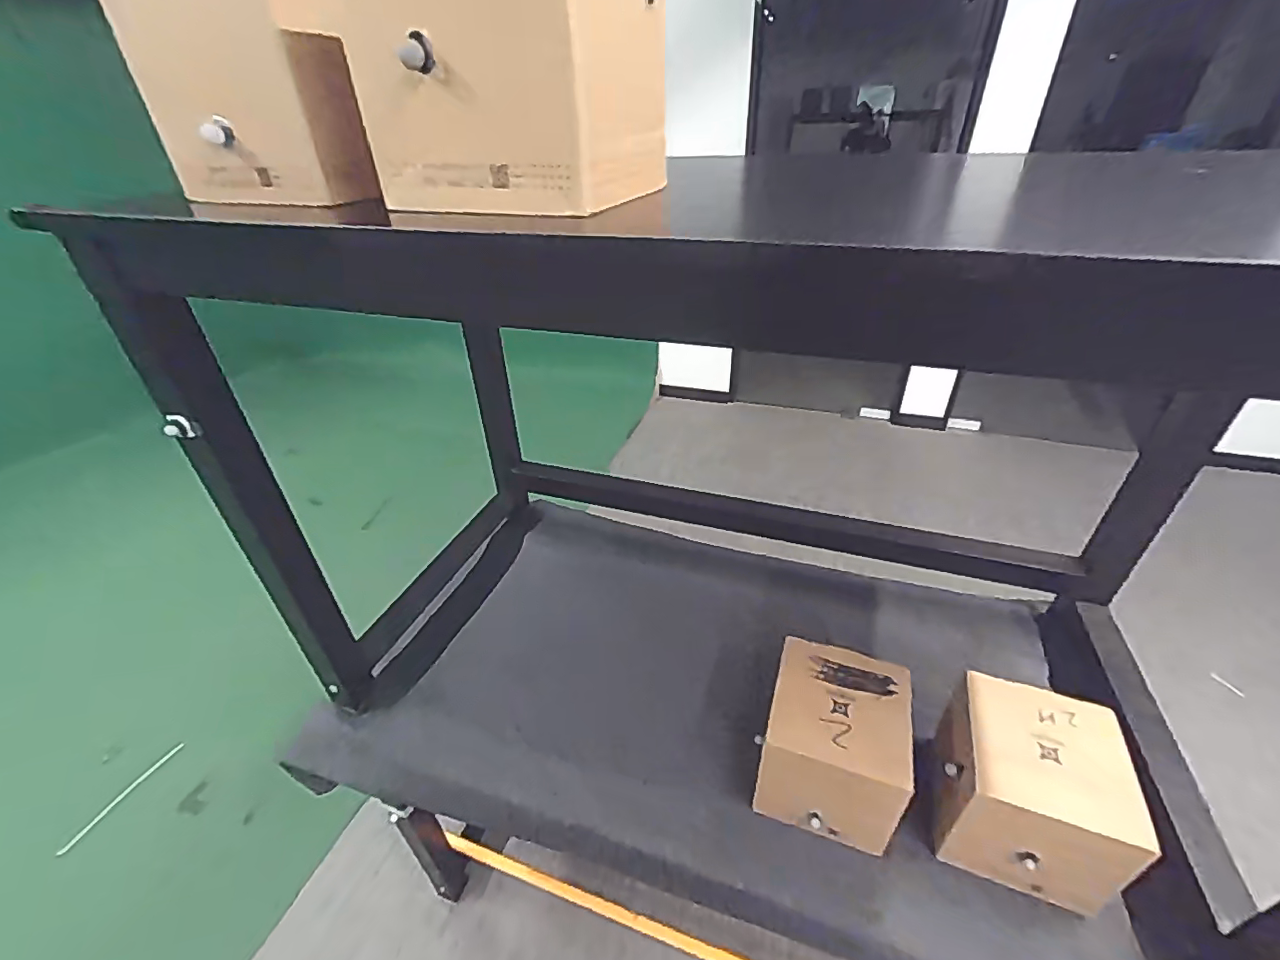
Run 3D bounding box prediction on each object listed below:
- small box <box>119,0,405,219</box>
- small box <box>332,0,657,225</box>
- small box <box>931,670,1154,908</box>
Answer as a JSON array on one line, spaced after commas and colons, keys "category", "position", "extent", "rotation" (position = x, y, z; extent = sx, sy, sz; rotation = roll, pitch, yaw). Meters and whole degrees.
[{"category": "small box", "position": [-0.294, -0.342, 0.481], "extent": [0.168, 0.176, 0.179], "rotation": [10, 37, 17]}, {"category": "small box", "position": [-0.087, -0.295, 0.406], "extent": [0.168, 0.176, 0.179], "rotation": [10, 36, 18]}, {"category": "small box", "position": [0.476, 0.380, 0.674], "extent": [0.168, 0.176, 0.179], "rotation": [12, 36, 20]}]
